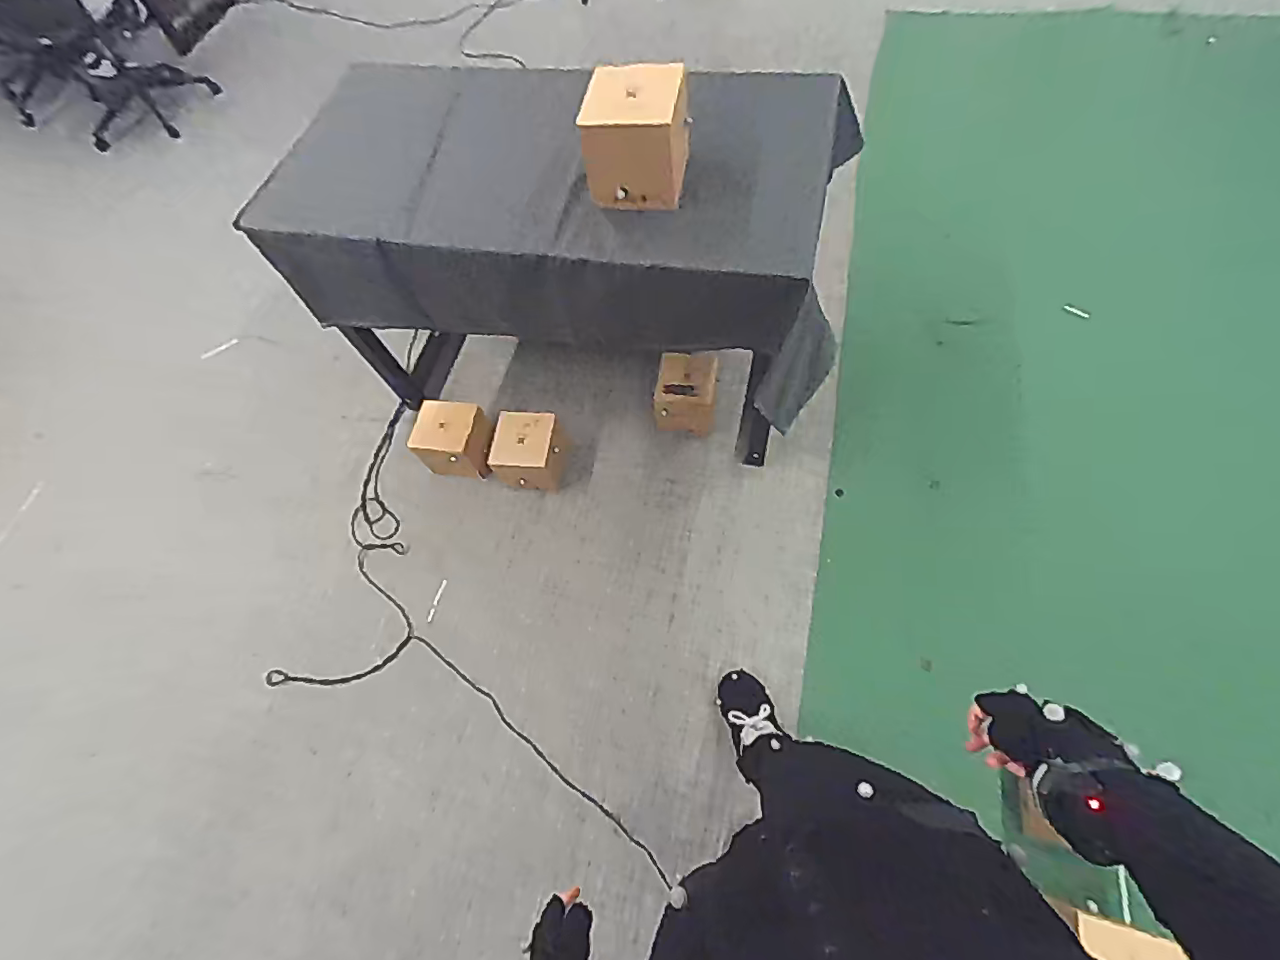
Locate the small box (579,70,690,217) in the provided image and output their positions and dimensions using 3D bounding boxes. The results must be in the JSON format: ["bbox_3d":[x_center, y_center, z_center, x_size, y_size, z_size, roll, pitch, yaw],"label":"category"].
[{"bbox_3d":[-0.001,-0.620,1.001,0.168,0.176,0.179,7,65,11],"label":"small box"}]

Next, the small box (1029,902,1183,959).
[{"bbox_3d":[0.828,0.903,0.967,0.168,0.176,0.179,12,65,12],"label":"small box"}]

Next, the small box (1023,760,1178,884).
[{"bbox_3d":[0.894,0.669,1.075,0.179,0.176,0.168,8,65,12],"label":"small box"}]
